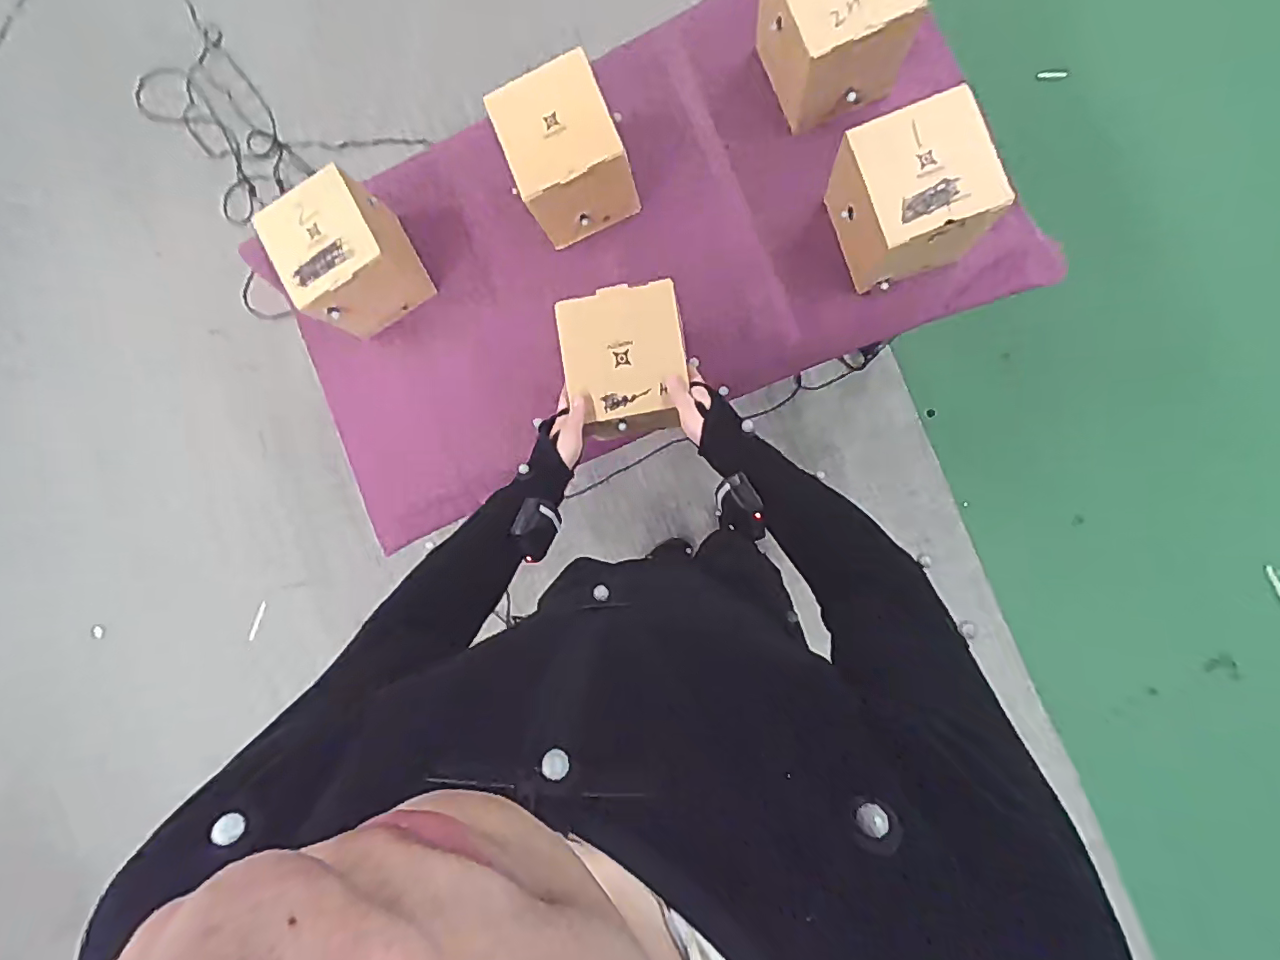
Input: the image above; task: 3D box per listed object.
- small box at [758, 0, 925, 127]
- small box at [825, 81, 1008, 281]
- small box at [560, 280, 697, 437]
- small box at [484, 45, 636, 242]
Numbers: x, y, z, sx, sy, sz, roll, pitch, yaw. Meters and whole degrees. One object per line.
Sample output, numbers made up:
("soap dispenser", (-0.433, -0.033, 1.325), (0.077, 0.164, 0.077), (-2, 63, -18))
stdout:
("small box", (0.286, -0.689, 0.812), (0.168, 0.176, 0.179), (-22, 87, 8))
("small box", (0.389, -0.417, 0.794), (0.168, 0.176, 0.179), (-18, 85, 8))
("small box", (-0.010, -0.168, 0.802), (0.168, 0.176, 0.179), (-9, 88, 8))
("small box", (-0.118, -0.522, 0.867), (0.168, 0.176, 0.179), (-23, 88, 6))
